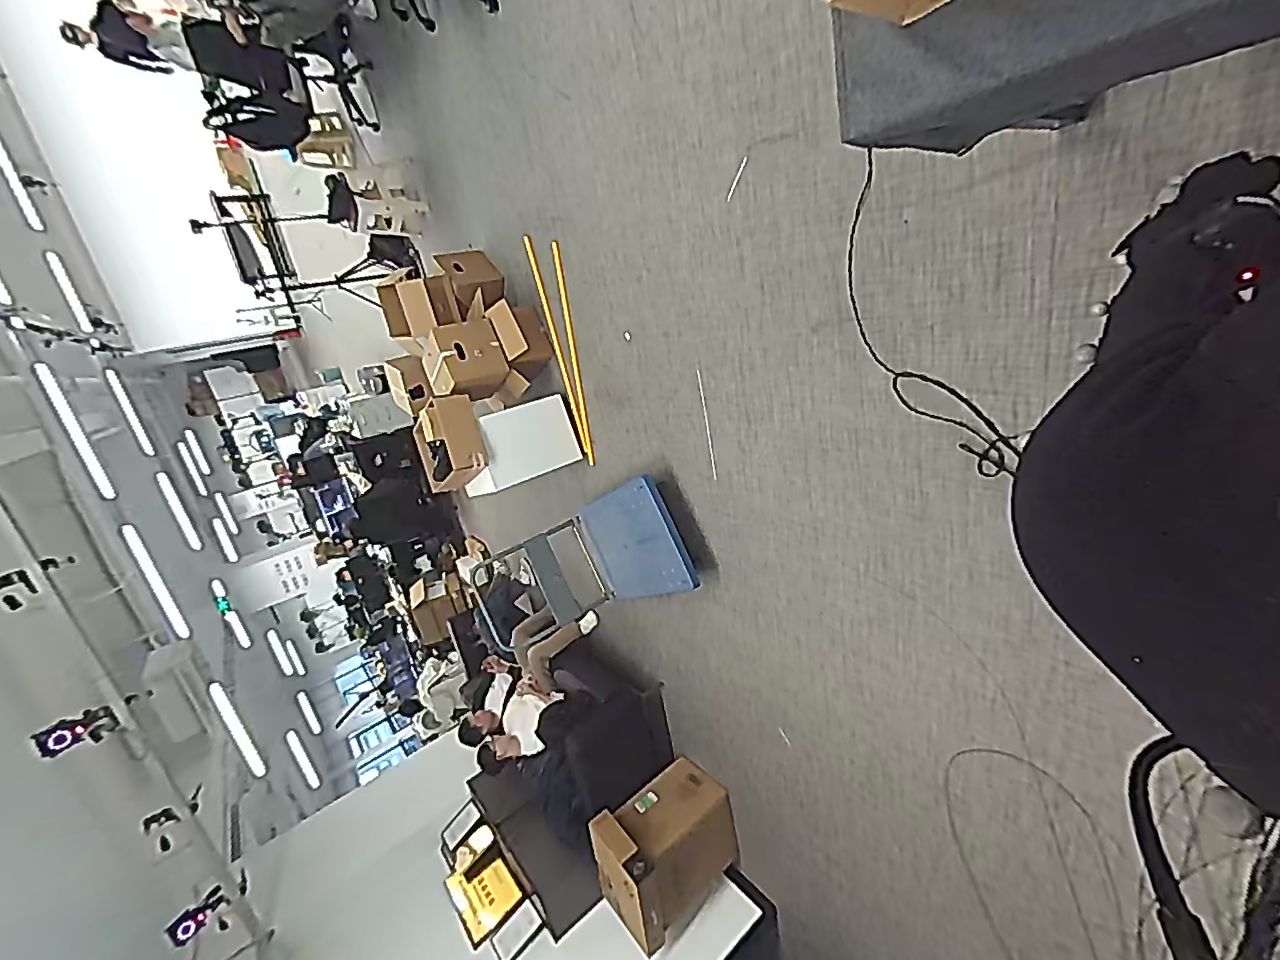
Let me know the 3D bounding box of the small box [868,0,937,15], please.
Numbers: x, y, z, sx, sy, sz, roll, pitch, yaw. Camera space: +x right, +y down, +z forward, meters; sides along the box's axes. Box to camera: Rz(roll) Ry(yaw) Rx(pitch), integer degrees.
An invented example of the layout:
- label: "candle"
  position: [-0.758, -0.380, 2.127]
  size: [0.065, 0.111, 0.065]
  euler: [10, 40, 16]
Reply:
- label: "small box"
  position: [0.288, -0.603, 0.525]
  size: [0.168, 0.176, 0.179]
  euler: [10, 118, 52]
